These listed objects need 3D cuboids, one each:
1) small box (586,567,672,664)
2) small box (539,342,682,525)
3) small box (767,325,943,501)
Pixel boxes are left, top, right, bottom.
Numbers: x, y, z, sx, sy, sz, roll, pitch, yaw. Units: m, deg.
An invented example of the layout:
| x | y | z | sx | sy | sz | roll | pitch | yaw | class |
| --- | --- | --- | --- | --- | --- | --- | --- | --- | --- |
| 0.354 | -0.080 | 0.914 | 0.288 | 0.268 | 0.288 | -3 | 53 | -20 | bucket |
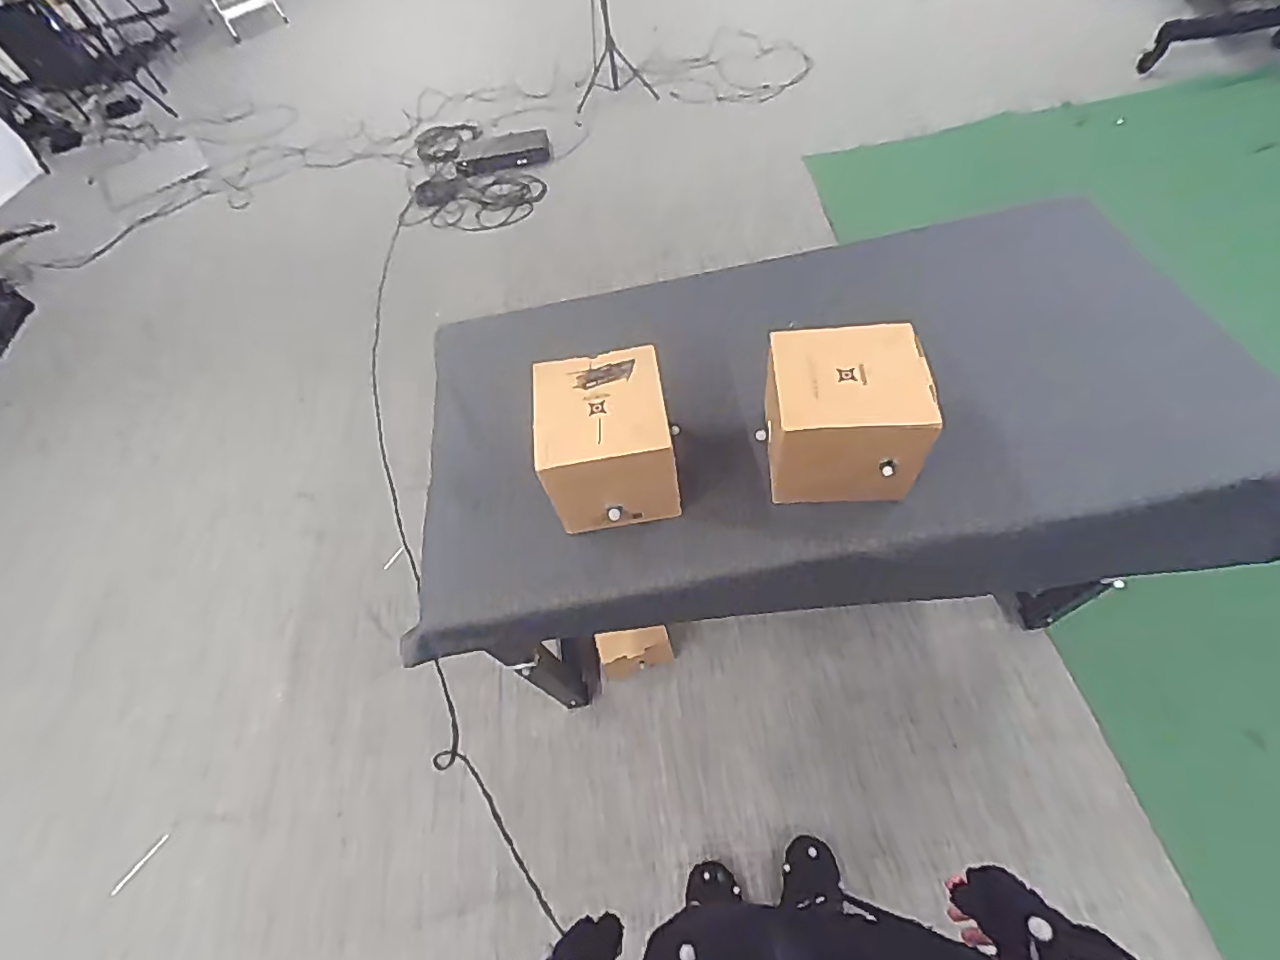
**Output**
| x | y | z | sx | sy | sz | roll | pitch | yaw | class |
| --- | --- | --- | --- | --- | --- | --- | --- | --- | --- |
| -0.023 | 0.349 | 1.360 | 0.168 | 0.176 | 0.179 | -18 | 59 | -3 | small box |
| -0.036 | -0.059 | 0.746 | 0.168 | 0.176 | 0.179 | -9 | 58 | 3 | small box |
| 0.267 | -0.082 | 0.719 | 0.179 | 0.176 | 0.168 | -2 | 57 | 9 | small box |
